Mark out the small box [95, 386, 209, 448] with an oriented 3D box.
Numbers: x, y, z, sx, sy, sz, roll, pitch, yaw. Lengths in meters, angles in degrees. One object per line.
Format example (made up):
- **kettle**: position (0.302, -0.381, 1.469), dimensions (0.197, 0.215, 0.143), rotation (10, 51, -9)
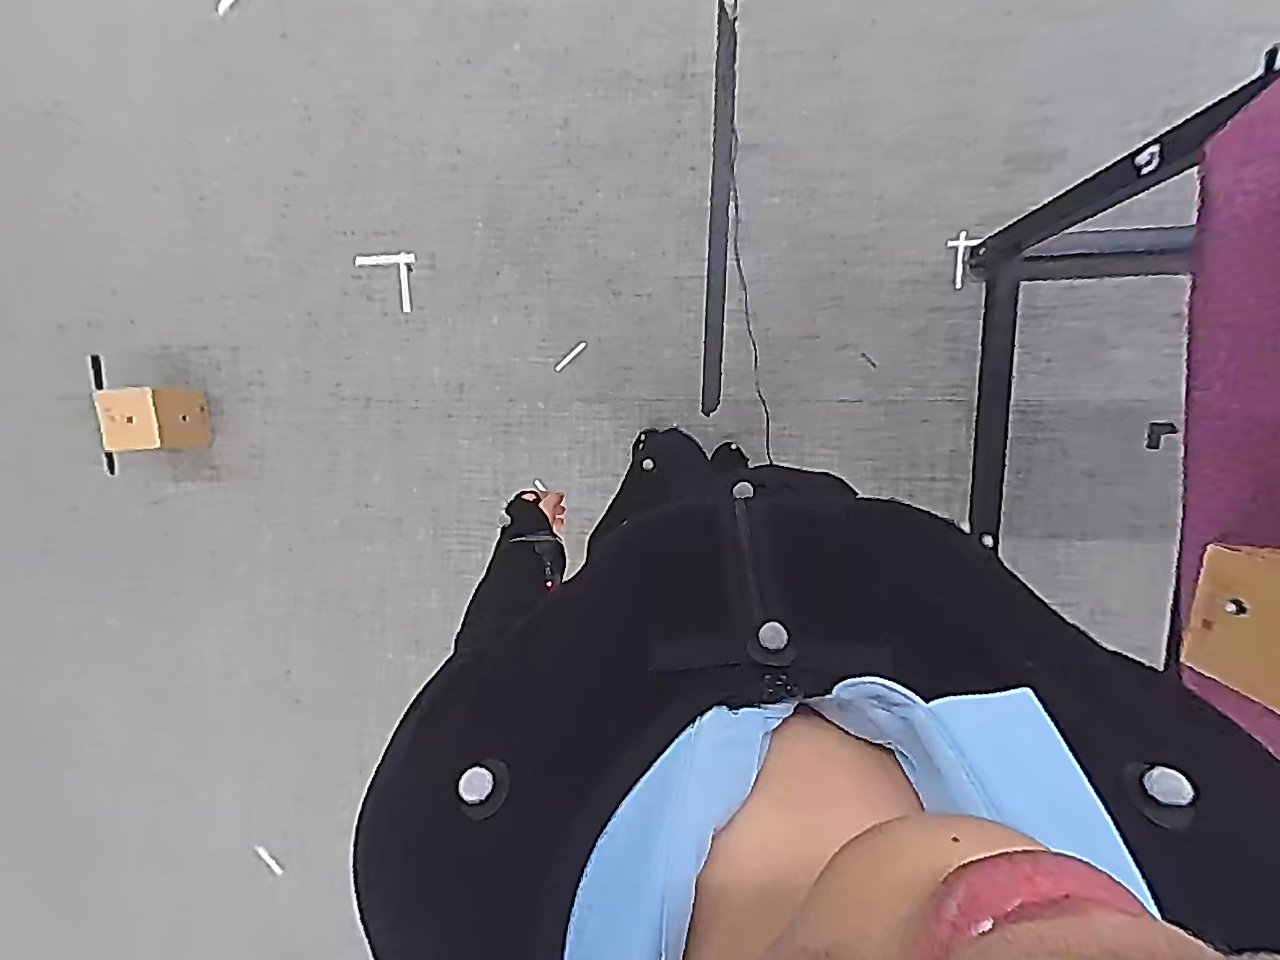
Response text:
- **small box**: position (-1.372, -0.182, 1.537), dimensions (0.179, 0.176, 0.168), rotation (-2, 97, 7)
